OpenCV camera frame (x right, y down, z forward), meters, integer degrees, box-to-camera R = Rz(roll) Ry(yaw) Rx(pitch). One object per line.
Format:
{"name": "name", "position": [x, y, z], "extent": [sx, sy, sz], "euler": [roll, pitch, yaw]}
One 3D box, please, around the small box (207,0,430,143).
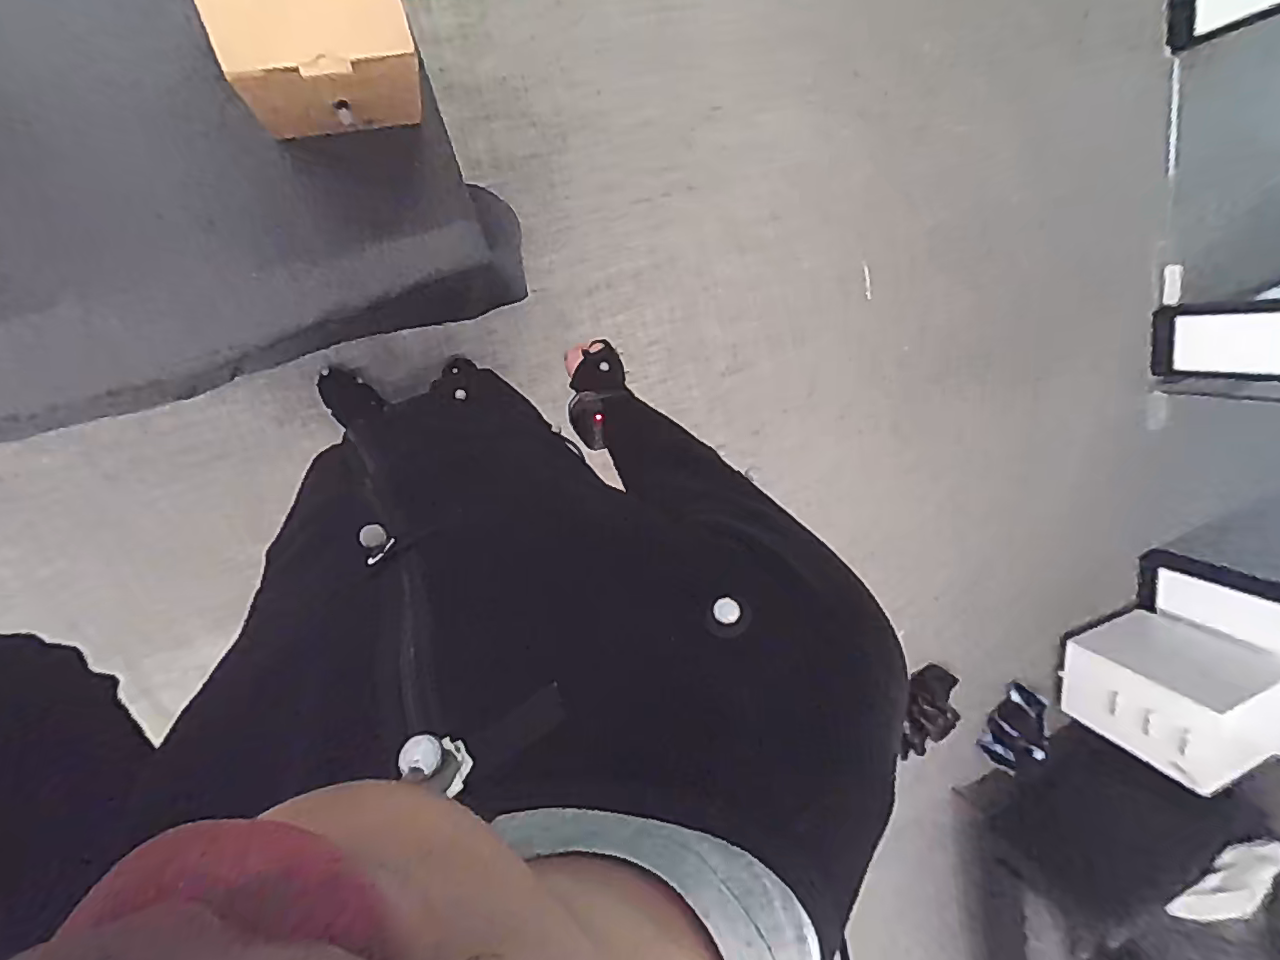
{"name": "small box", "position": [-0.321, -0.465, 0.547], "extent": [0.168, 0.176, 0.179], "euler": [-18, 110, -15]}
